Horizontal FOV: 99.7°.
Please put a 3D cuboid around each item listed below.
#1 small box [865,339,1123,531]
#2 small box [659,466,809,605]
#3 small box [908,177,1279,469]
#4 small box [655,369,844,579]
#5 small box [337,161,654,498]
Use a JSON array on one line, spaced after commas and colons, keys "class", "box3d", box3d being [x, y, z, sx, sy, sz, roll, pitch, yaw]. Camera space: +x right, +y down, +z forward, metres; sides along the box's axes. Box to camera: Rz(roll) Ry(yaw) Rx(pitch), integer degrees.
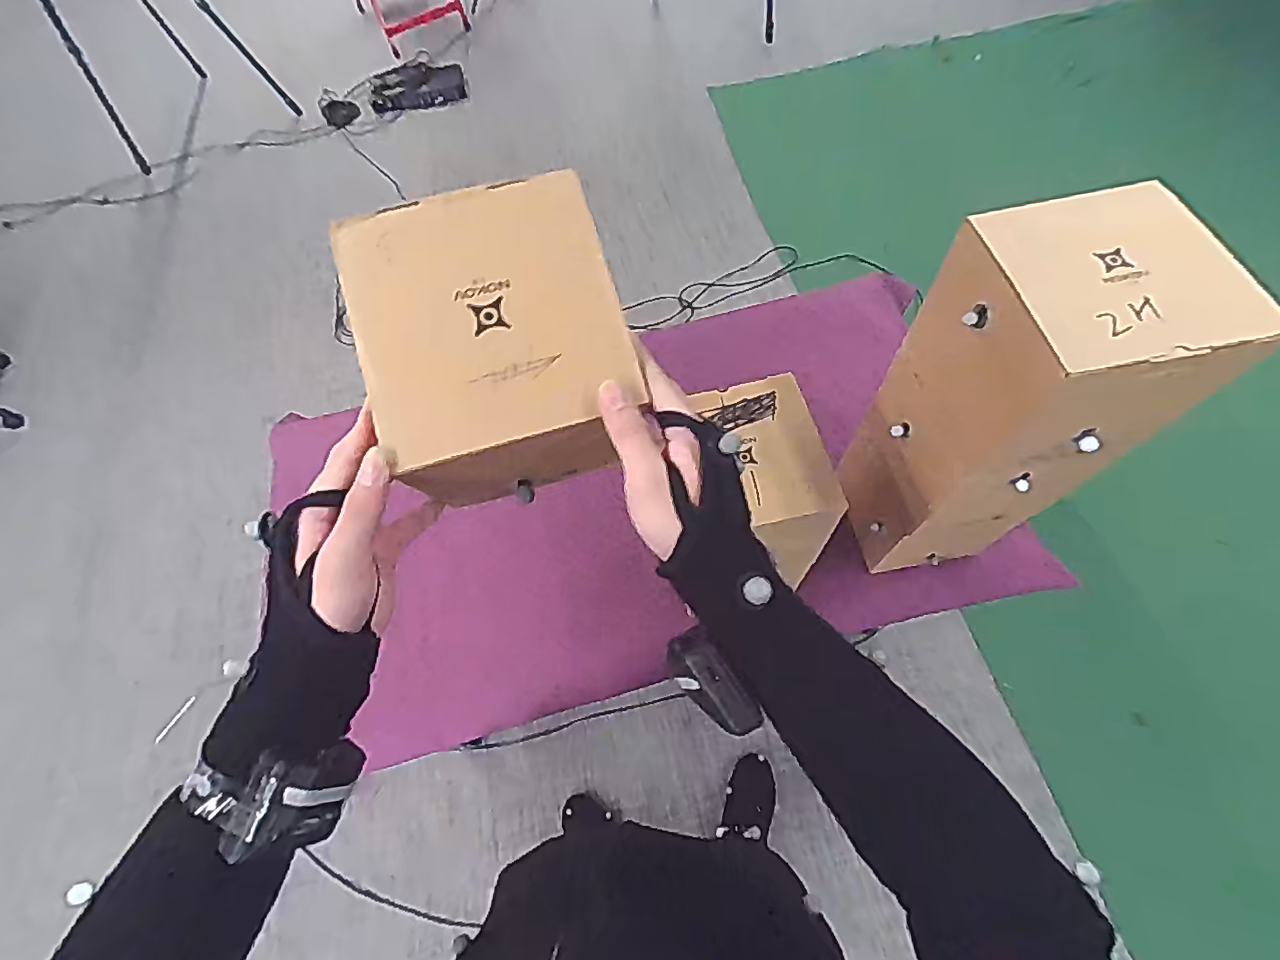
[{"class": "small box", "box3d": [0.391, -0.060, 0.642, 0.168, 0.176, 0.179, -11, 63, 2]}, {"class": "small box", "box3d": [0.129, 0.074, 0.790, 0.168, 0.176, 0.179, -13, 63, 0]}, {"class": "small box", "box3d": [0.376, -0.133, 0.494, 0.168, 0.176, 0.179, -10, 64, 2]}, {"class": "small box", "box3d": [0.115, 0.000, 0.644, 0.168, 0.176, 0.179, -12, 63, 0]}, {"class": "small box", "box3d": [-0.098, -0.098, 0.418, 0.168, 0.176, 0.179, -16, 82, -6]}]
